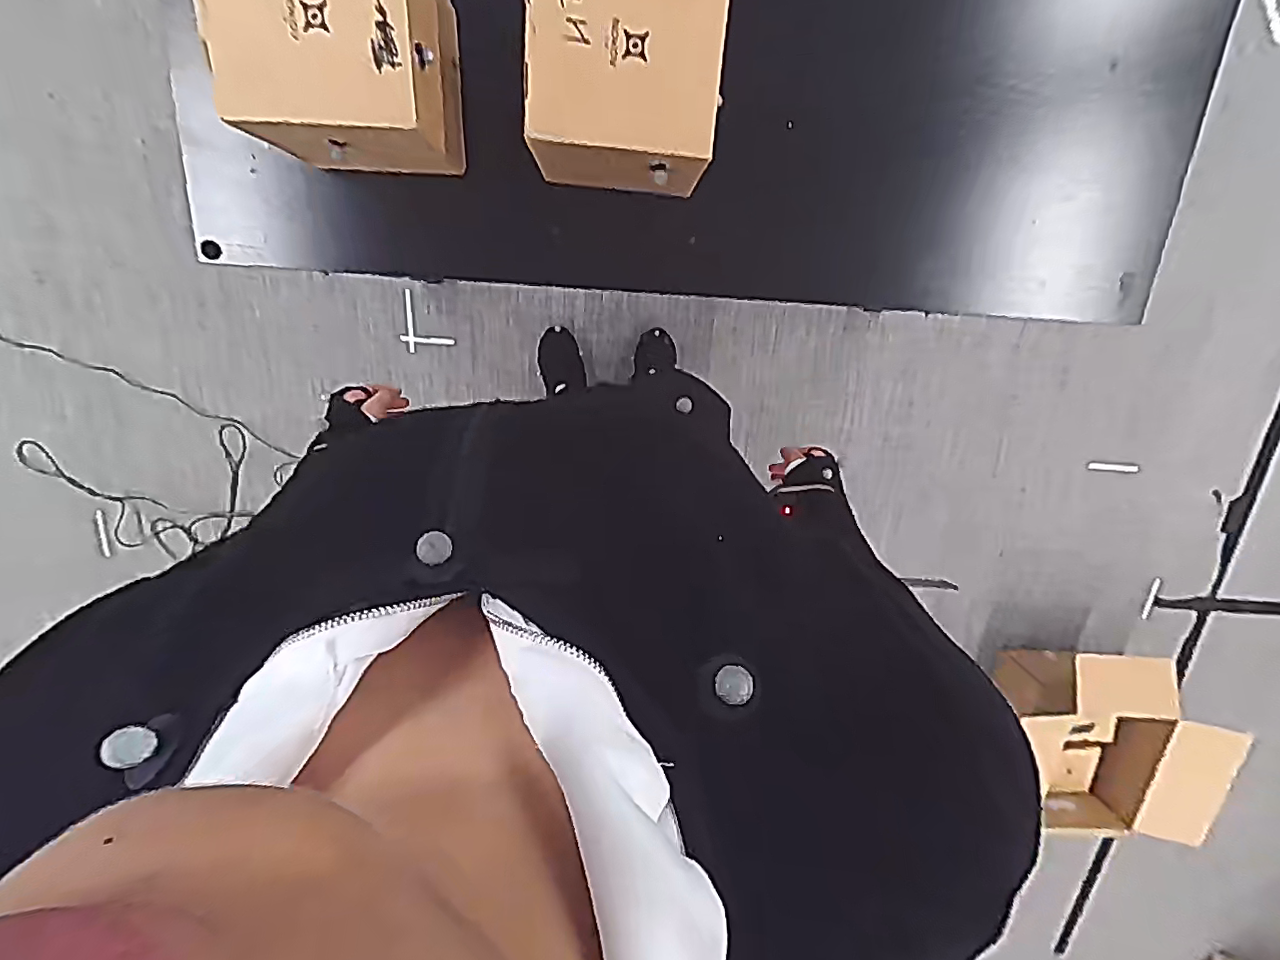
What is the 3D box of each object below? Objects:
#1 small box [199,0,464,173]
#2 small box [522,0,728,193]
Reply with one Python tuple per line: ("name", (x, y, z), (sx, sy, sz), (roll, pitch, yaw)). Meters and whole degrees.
("small box", (-0.290, -0.419, 0.538), (0.179, 0.176, 0.168), (1, 107, -2))
("small box", (-0.018, -0.406, 0.553), (0.179, 0.176, 0.168), (4, 106, -3))
